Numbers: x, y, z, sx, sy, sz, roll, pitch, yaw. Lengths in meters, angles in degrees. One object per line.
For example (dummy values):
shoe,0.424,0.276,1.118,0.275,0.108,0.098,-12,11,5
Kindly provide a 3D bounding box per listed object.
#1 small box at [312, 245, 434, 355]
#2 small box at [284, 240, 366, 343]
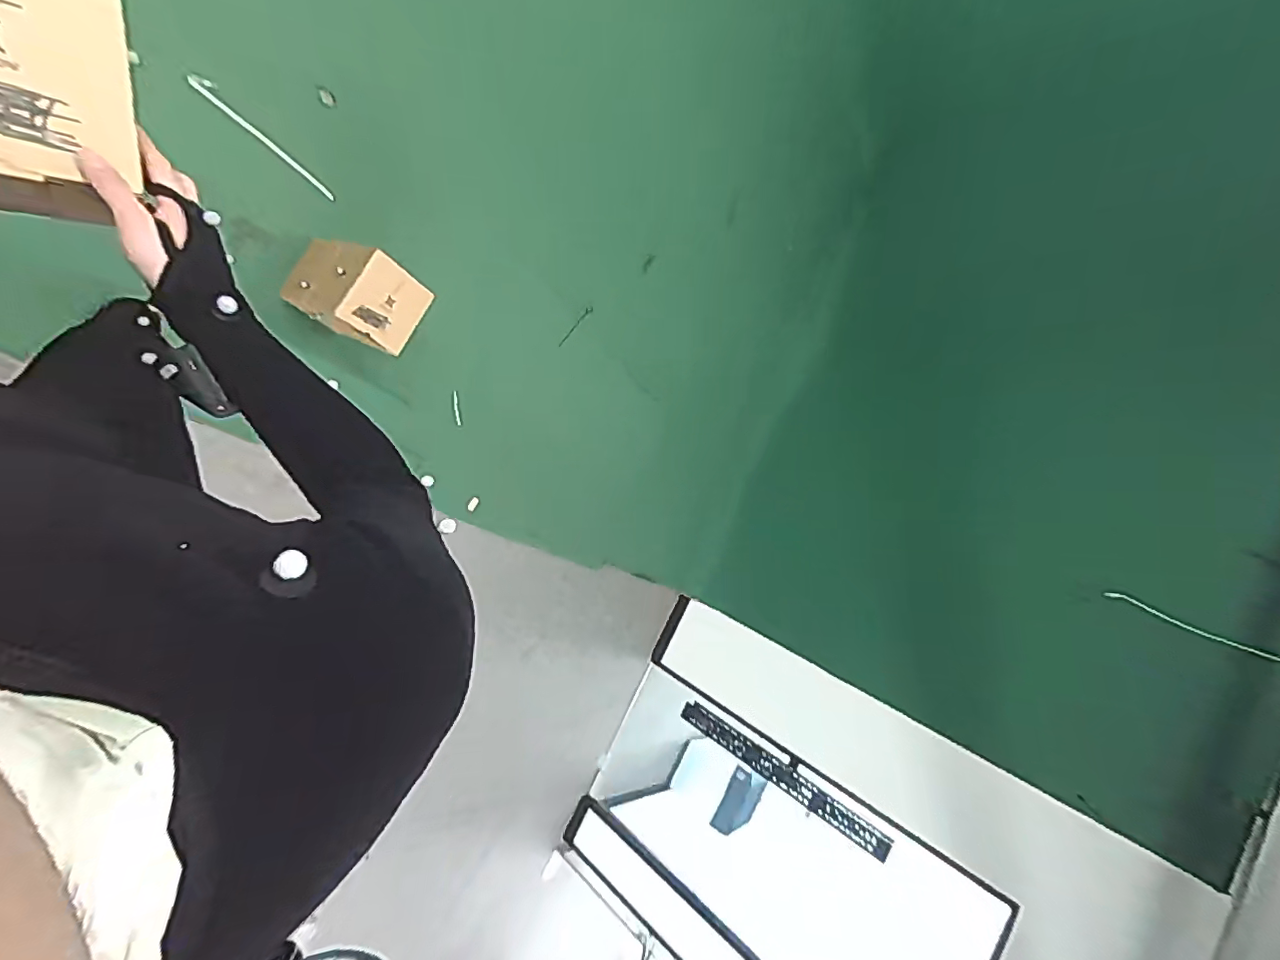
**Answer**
small box,-0.630,-0.423,1.266,0.179,0.176,0.168,-61,145,-8
small box,-0.752,-0.478,1.360,0.179,0.176,0.168,-61,145,-6
